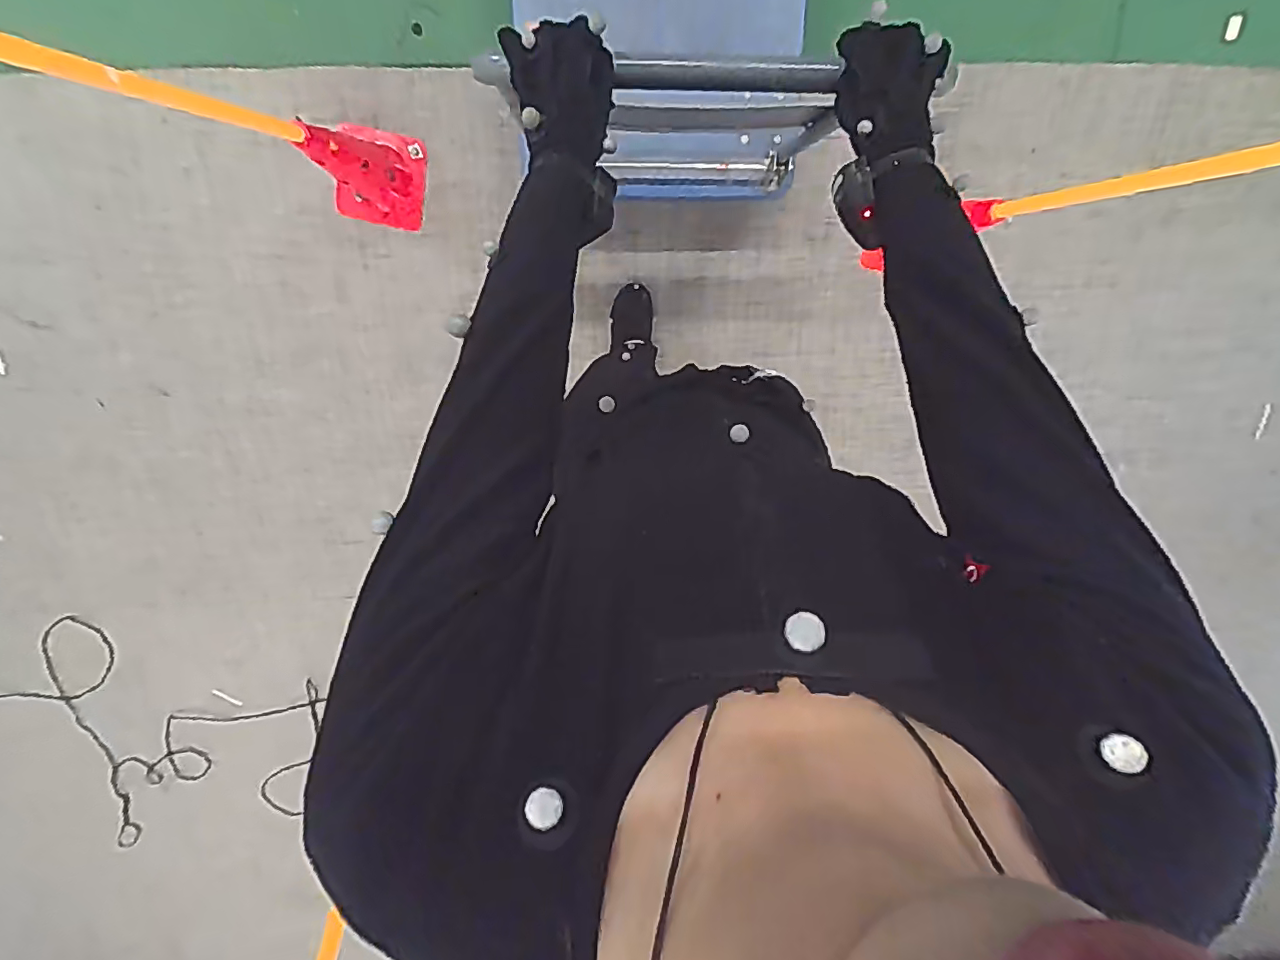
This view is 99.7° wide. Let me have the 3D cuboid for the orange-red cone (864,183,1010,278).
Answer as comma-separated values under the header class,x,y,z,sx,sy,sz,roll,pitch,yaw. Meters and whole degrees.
class,x,y,z,sx,sy,sz,roll,pitch,yaw
orange-red cone,0.681,-0.568,1.193,0.198,0.360,0.199,9,109,-5
